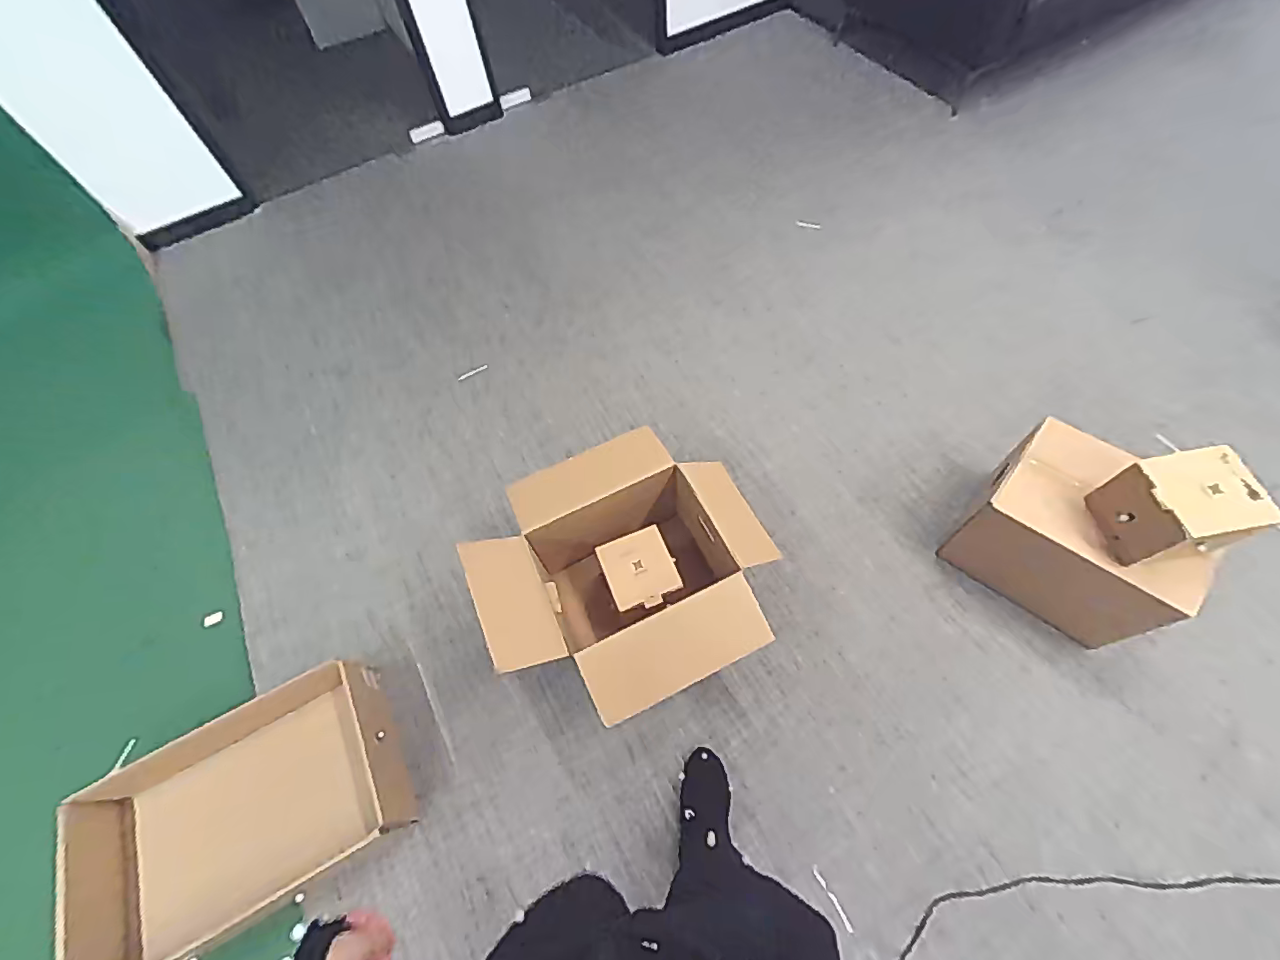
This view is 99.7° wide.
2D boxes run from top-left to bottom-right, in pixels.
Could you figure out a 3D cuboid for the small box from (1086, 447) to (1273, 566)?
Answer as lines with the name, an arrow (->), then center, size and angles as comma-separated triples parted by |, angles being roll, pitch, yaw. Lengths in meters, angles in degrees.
small box -> 1.048, 0.059, 1.077 | 0.179, 0.176, 0.168 | -11, 61, 1
